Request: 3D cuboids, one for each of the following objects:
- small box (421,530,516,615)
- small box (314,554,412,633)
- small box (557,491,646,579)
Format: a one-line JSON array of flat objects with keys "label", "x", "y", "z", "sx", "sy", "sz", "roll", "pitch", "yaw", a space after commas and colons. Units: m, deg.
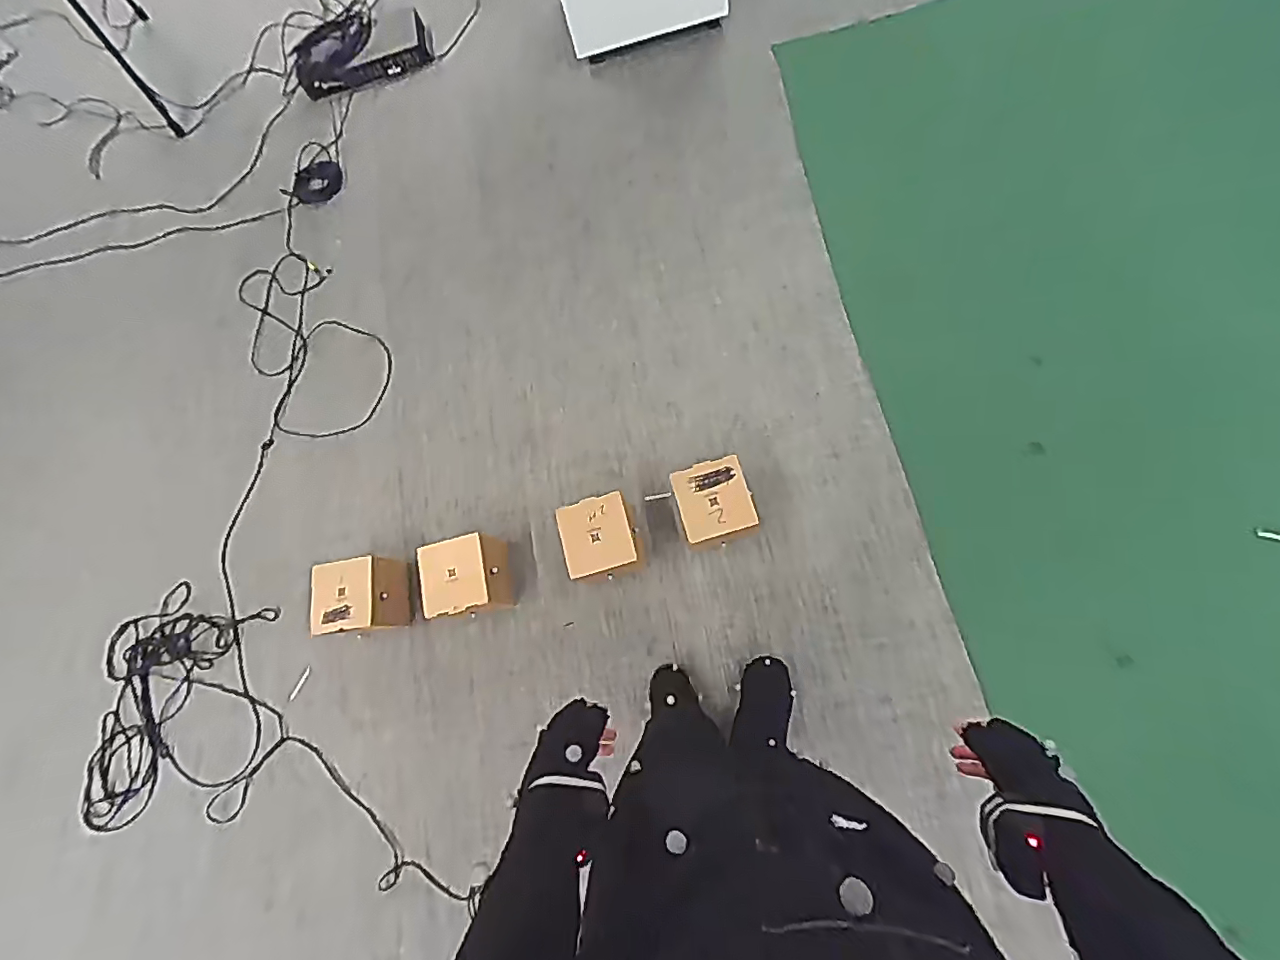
[{"label": "small box", "x": -0.435, "y": 0.242, "z": 1.383, "sx": 0.168, "sy": 0.176, "sz": 0.179, "roll": -15, "pitch": 74, "yaw": 6}, {"label": "small box", "x": -0.718, "y": 0.299, "z": 1.416, "sx": 0.168, "sy": 0.176, "sz": 0.179, "roll": -10, "pitch": 73, "yaw": 7}, {"label": "small box", "x": -0.091, "y": 0.145, "z": 1.346, "sx": 0.168, "sy": 0.176, "sz": 0.179, "roll": -16, "pitch": 74, "yaw": 5}]
